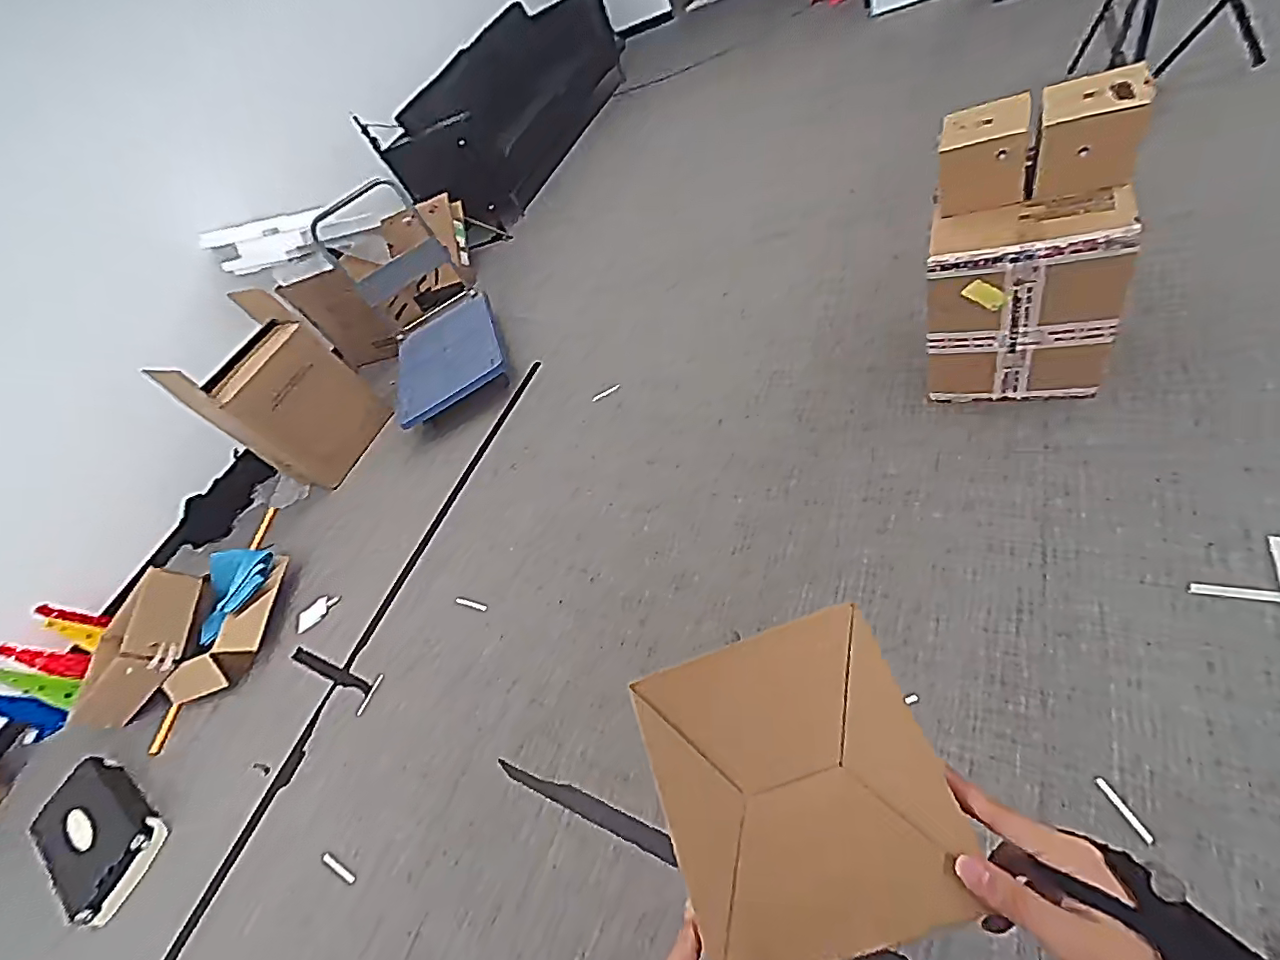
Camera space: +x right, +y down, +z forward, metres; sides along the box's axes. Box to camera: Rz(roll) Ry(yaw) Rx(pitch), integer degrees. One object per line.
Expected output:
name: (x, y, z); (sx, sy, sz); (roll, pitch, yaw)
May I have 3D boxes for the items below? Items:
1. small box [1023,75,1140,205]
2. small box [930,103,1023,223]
small box: (0.976, -0.750, 1.209); (0.179, 0.176, 0.168); (4, 58, 31)
small box: (0.812, -0.757, 1.306); (0.179, 0.176, 0.168); (3, 57, 34)
